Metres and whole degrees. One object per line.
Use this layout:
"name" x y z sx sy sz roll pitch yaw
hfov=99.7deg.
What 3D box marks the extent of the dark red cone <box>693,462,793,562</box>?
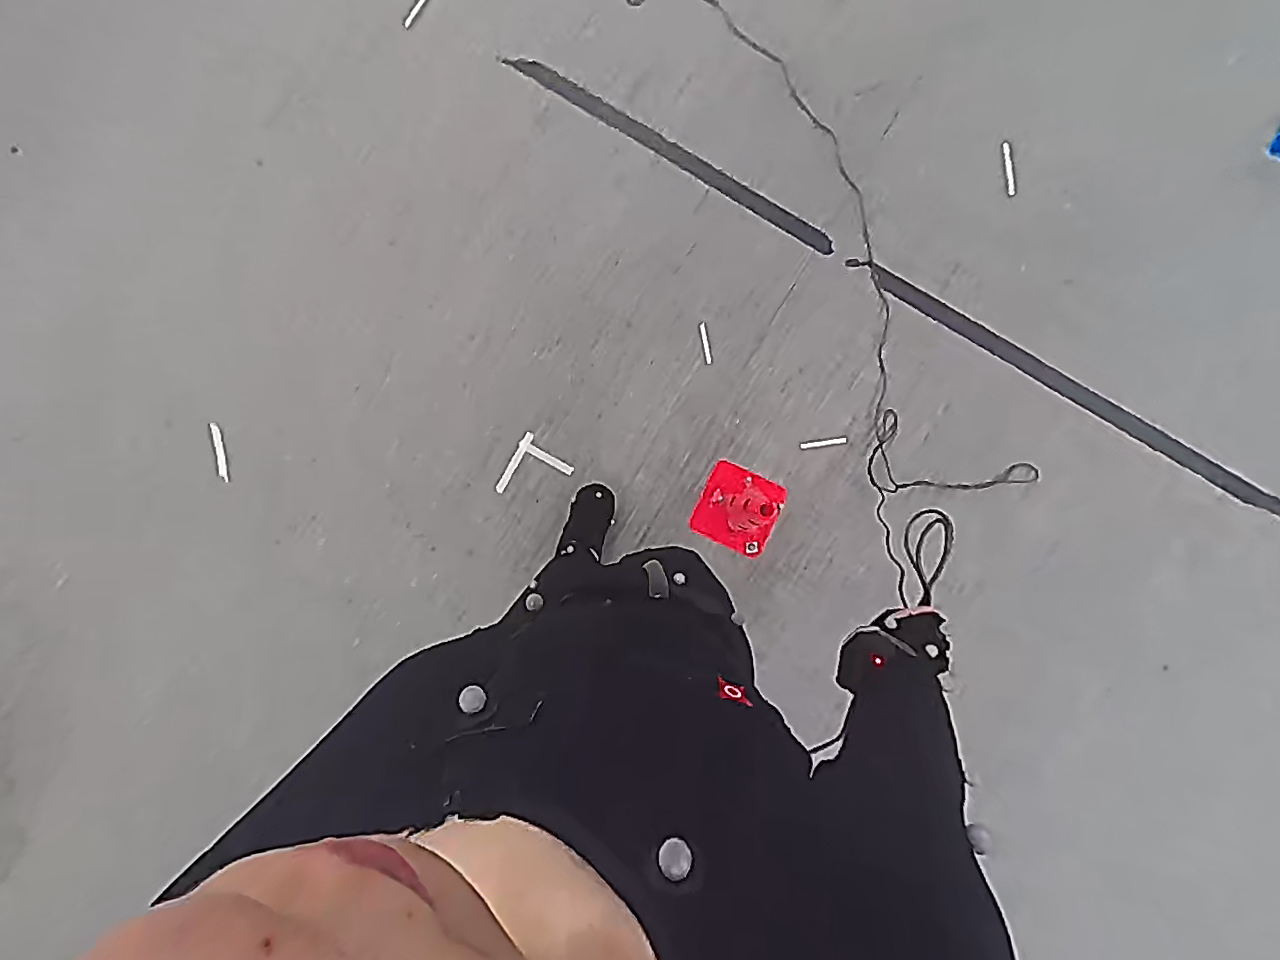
"dark red cone" 0.243 0.066 1.159 0.202 0.394 0.201 24 87 3
